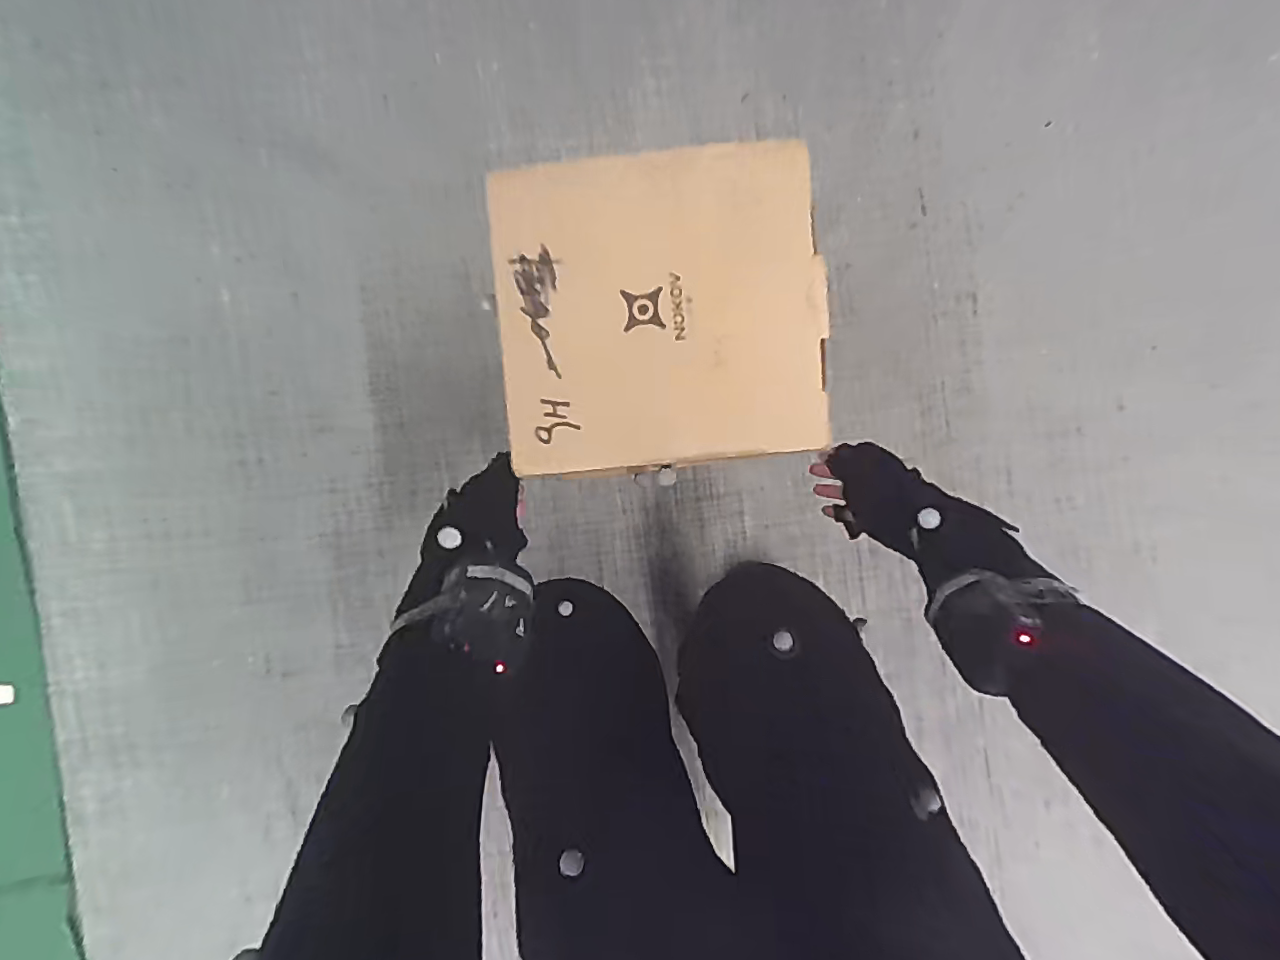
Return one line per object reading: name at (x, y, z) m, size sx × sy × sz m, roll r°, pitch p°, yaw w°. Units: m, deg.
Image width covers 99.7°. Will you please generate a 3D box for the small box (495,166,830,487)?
small box at (0.012, -0.085, 0.375) m, size 0.179 × 0.176 × 0.168 m, roll -5°, pitch 91°, yaw 0°
